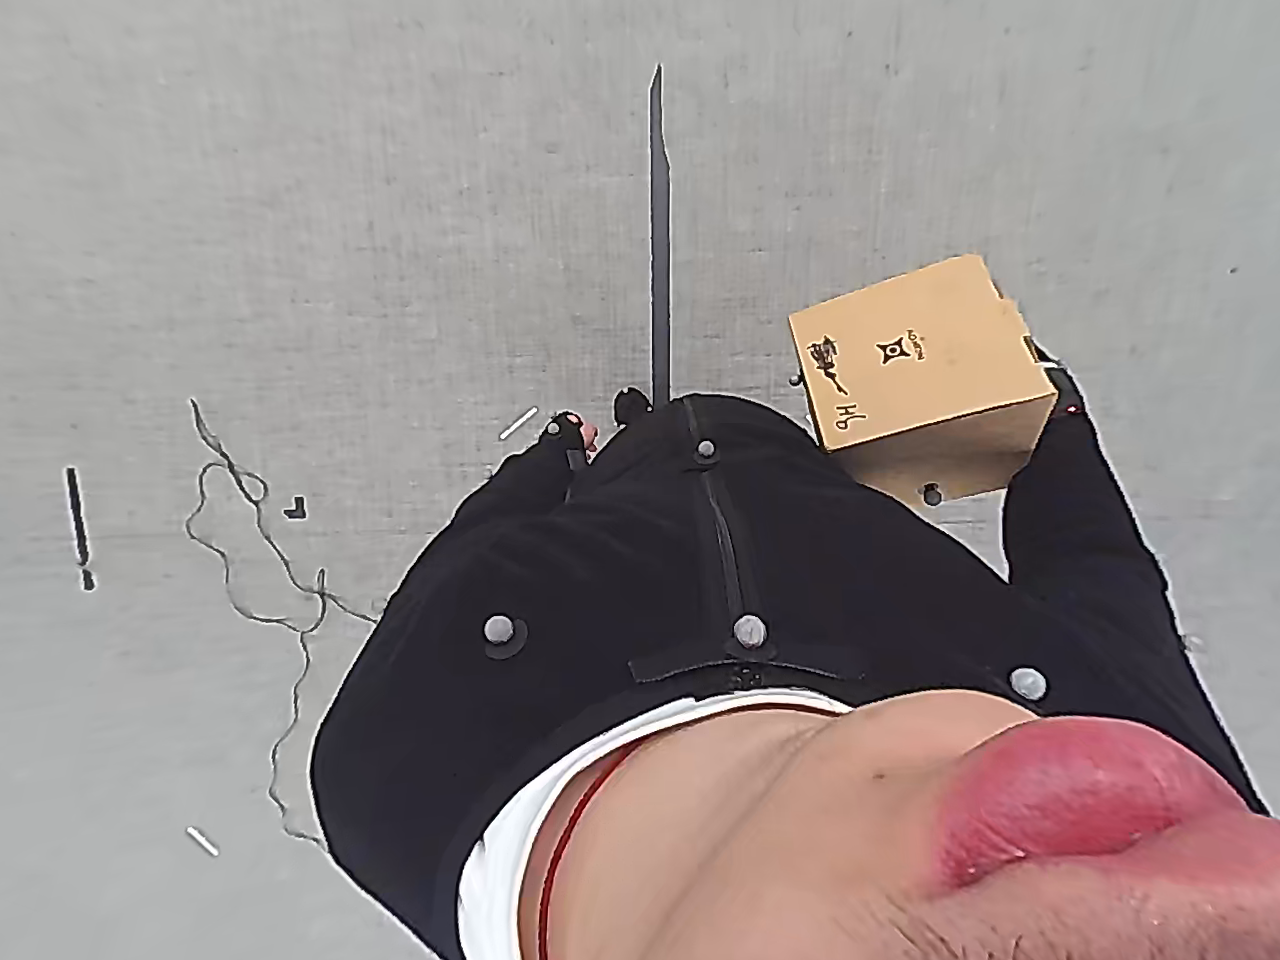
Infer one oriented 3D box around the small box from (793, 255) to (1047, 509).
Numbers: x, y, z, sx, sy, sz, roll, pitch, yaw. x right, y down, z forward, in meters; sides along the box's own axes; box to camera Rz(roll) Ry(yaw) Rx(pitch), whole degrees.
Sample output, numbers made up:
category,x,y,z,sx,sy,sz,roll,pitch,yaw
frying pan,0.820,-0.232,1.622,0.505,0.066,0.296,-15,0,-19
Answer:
category,x,y,z,sx,sy,sz,roll,pitch,yaw
small box,0.270,-0.088,0.558,0.179,0.176,0.168,-14,58,17
